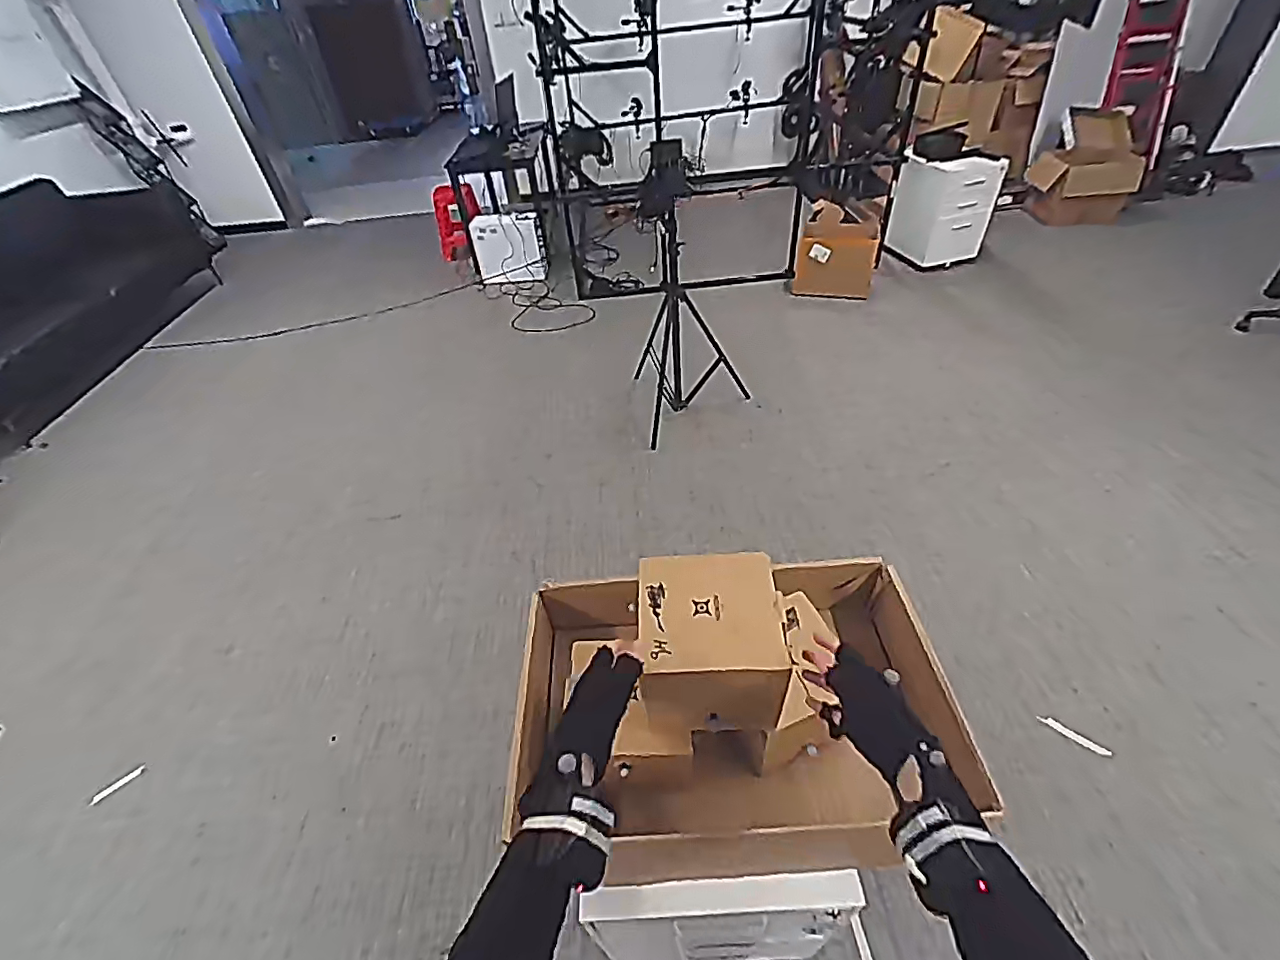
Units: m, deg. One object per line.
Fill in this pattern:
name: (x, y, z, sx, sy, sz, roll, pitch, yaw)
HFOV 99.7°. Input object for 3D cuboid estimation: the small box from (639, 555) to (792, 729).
small box: (0.090, 0.217, 0.720, 0.179, 0.176, 0.168, -2, 44, 3)
